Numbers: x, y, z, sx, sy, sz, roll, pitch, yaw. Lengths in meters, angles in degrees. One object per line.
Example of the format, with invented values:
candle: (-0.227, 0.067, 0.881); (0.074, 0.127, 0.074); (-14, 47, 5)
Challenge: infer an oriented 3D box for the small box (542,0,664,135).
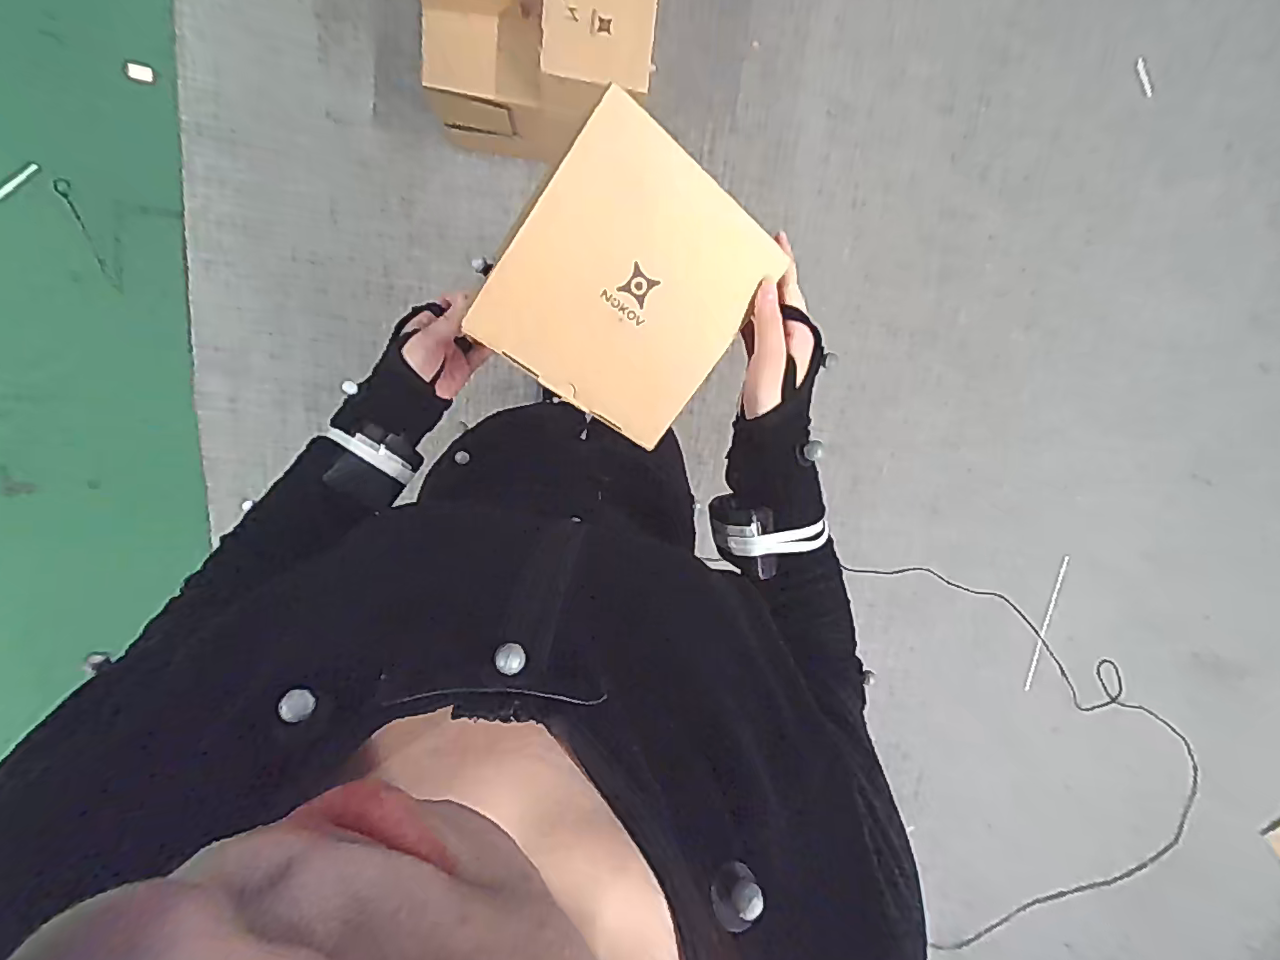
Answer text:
small box: (-0.068, -0.717, 0.921); (0.179, 0.176, 0.168); (6, 102, -8)
